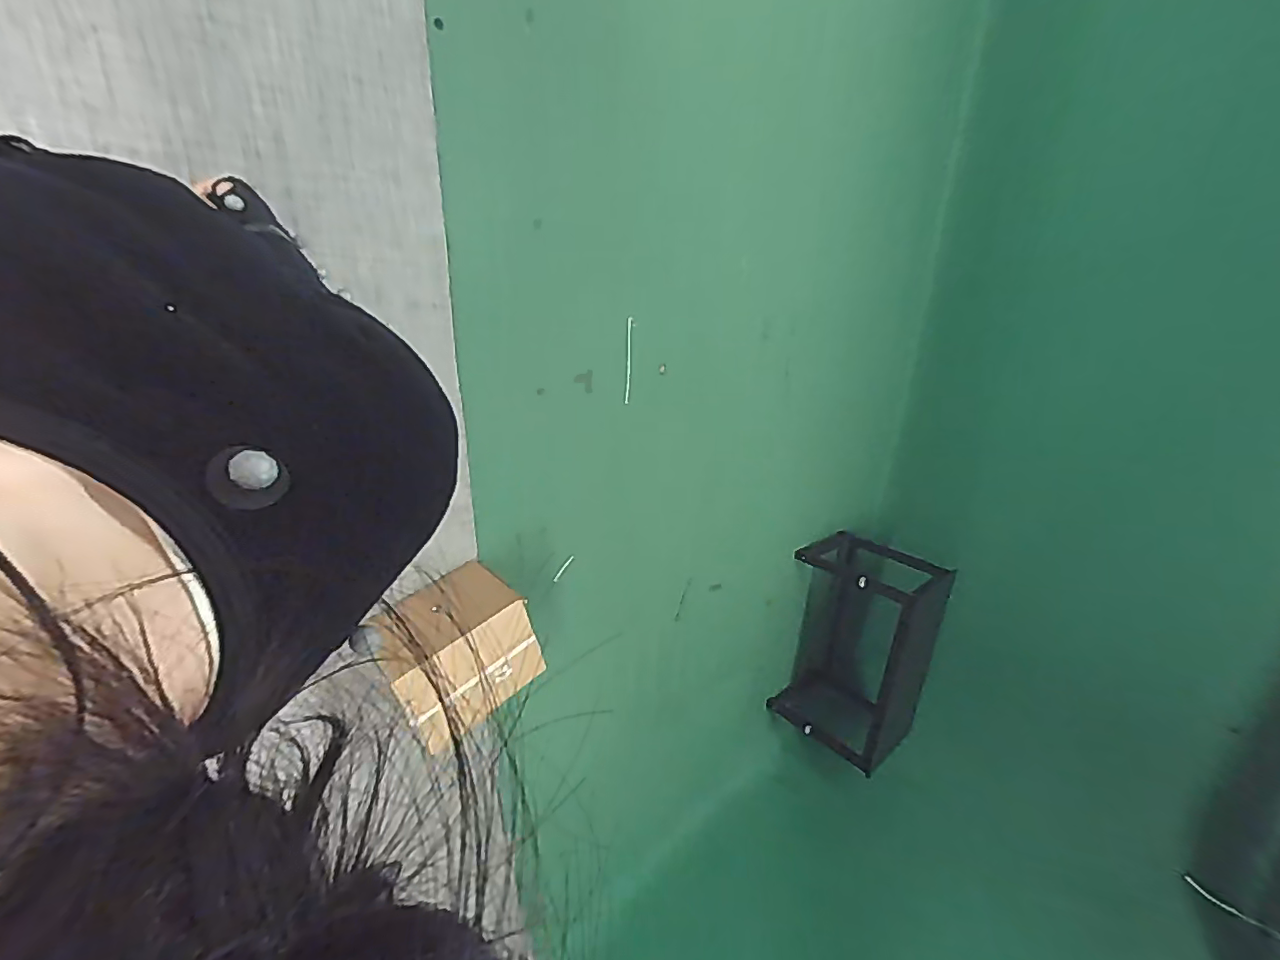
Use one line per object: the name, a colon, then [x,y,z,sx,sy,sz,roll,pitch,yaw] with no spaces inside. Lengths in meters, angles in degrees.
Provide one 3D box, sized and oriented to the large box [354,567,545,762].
large box: [-0.568,0.536,1.645,0.408,0.320,0.320,-32,127,-33]
